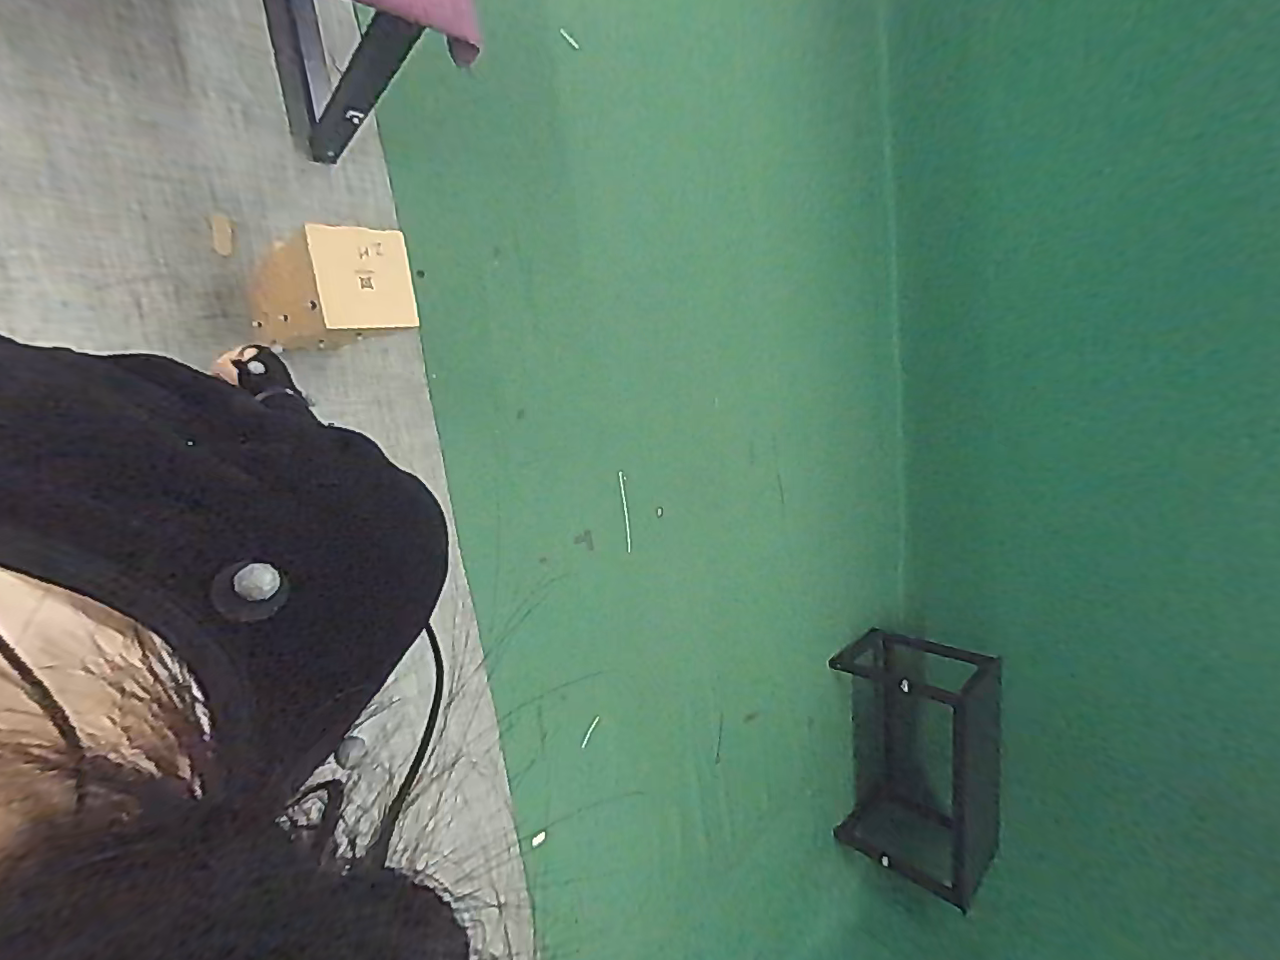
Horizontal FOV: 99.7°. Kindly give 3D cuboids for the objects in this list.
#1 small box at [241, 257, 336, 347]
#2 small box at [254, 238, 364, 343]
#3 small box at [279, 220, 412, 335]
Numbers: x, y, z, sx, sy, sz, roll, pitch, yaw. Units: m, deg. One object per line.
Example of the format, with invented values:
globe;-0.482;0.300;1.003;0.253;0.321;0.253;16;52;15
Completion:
small box;-0.795;-0.399;1.242;0.179;0.176;0.168;-14;103;-42
small box;-0.680;-0.388;1.129;0.168;0.176;0.179;-18;107;-41
small box;-0.556;-0.370;1.021;0.168;0.176;0.179;-17;106;-42
